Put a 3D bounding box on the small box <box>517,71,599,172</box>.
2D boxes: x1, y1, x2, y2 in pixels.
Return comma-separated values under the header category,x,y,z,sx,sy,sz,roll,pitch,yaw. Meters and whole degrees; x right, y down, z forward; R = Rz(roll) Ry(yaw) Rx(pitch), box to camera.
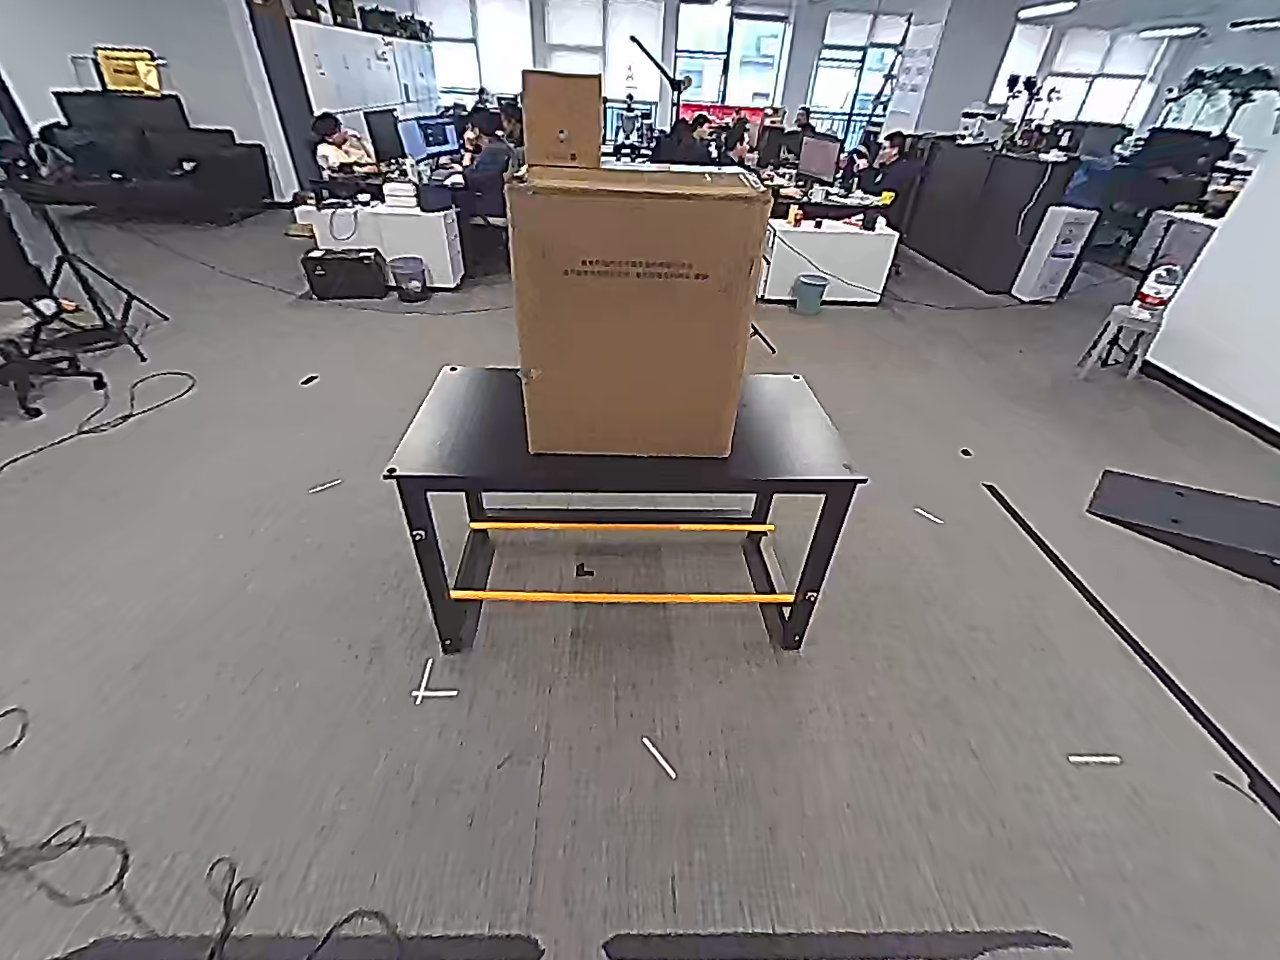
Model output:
category,x,y,z,sx,sy,sz,roll,pitch,yaw
small box,-0.177,-0.794,1.203,0.168,0.176,0.179,-1,35,-5
